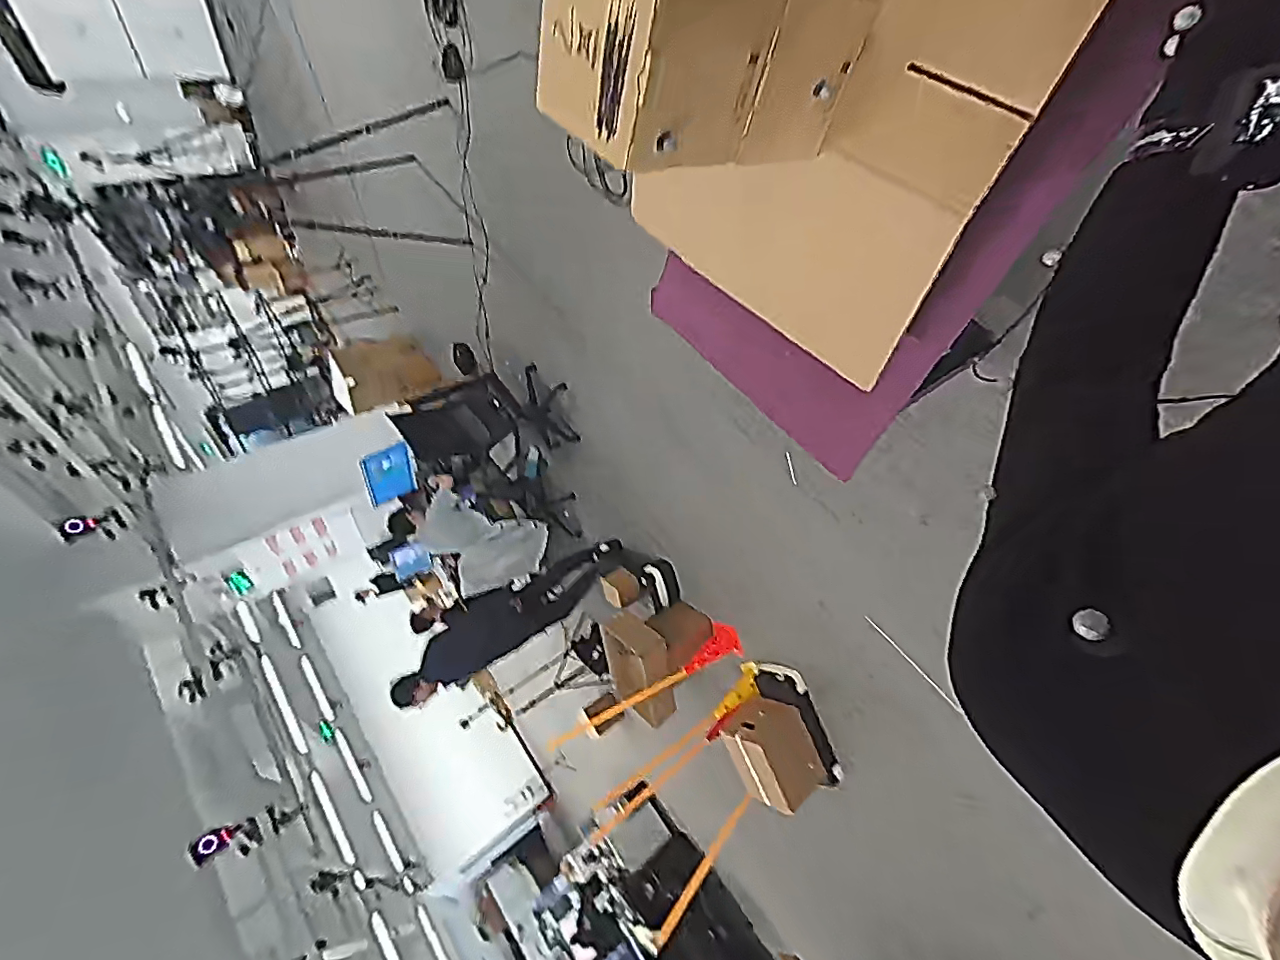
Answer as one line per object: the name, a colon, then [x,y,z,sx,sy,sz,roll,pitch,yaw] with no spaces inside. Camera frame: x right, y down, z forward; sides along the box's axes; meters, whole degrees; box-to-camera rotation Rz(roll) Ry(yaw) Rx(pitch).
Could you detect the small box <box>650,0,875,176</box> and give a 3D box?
small box: [0.145,-0.502,0.668,0.179,0.176,0.168,47,144,24]
